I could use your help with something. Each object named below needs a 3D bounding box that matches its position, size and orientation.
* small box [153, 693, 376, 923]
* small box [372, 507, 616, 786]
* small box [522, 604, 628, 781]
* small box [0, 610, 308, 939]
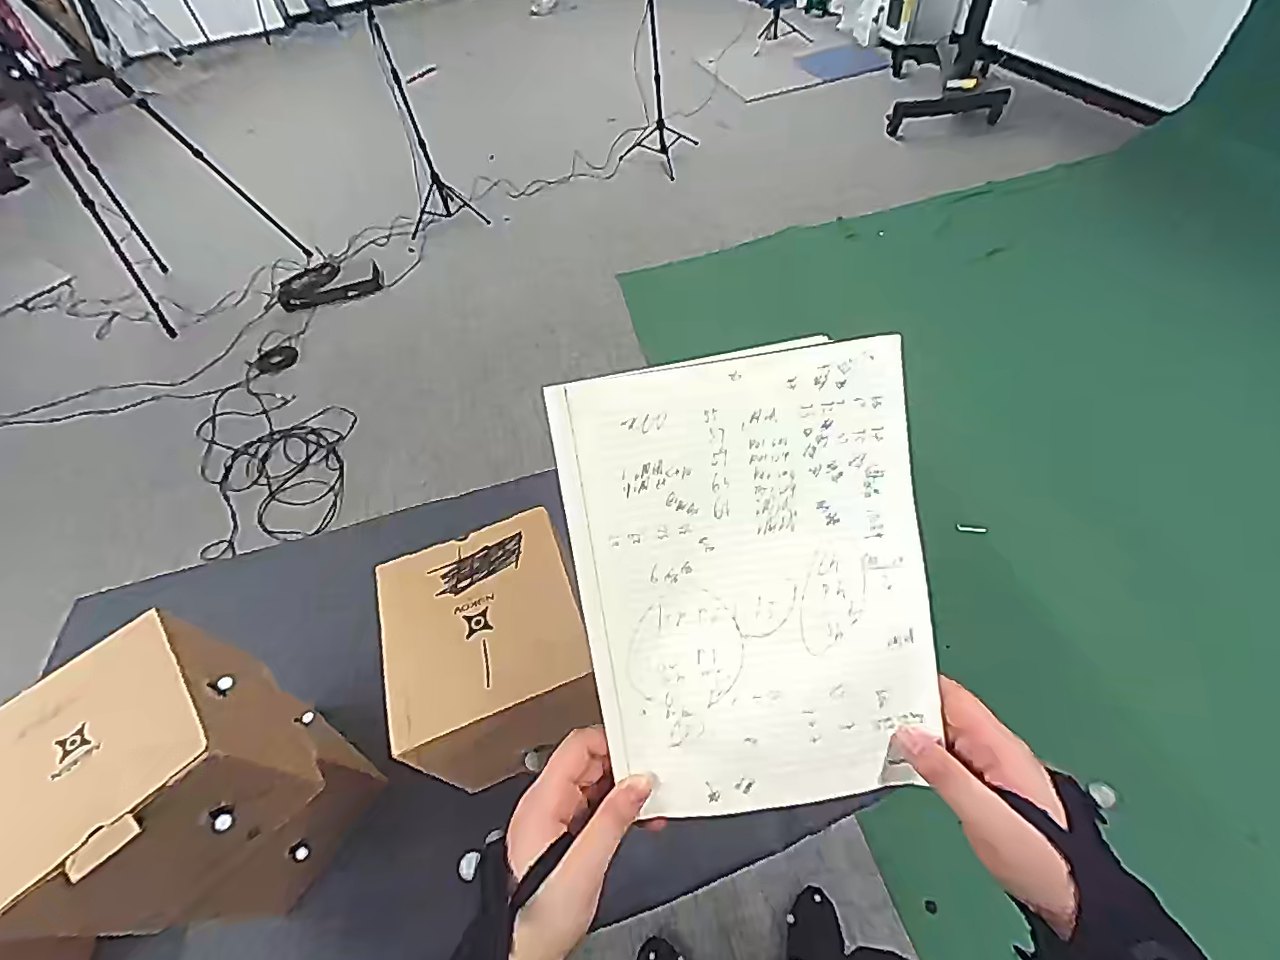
[{"bbox_3d":[-0.446,0.356,0.619,0.179,0.176,0.168,25,59,24],"label":"small box"},{"bbox_3d":[-0.133,0.162,0.519,0.168,0.176,0.179,-21,53,-7],"label":"small box"},{"bbox_3d":[-0.121,0.250,0.658,0.179,0.176,0.168,7,54,14],"label":"small box"},{"bbox_3d":[-0.445,0.258,0.487,0.168,0.176,0.179,-40,57,-23],"label":"small box"}]
